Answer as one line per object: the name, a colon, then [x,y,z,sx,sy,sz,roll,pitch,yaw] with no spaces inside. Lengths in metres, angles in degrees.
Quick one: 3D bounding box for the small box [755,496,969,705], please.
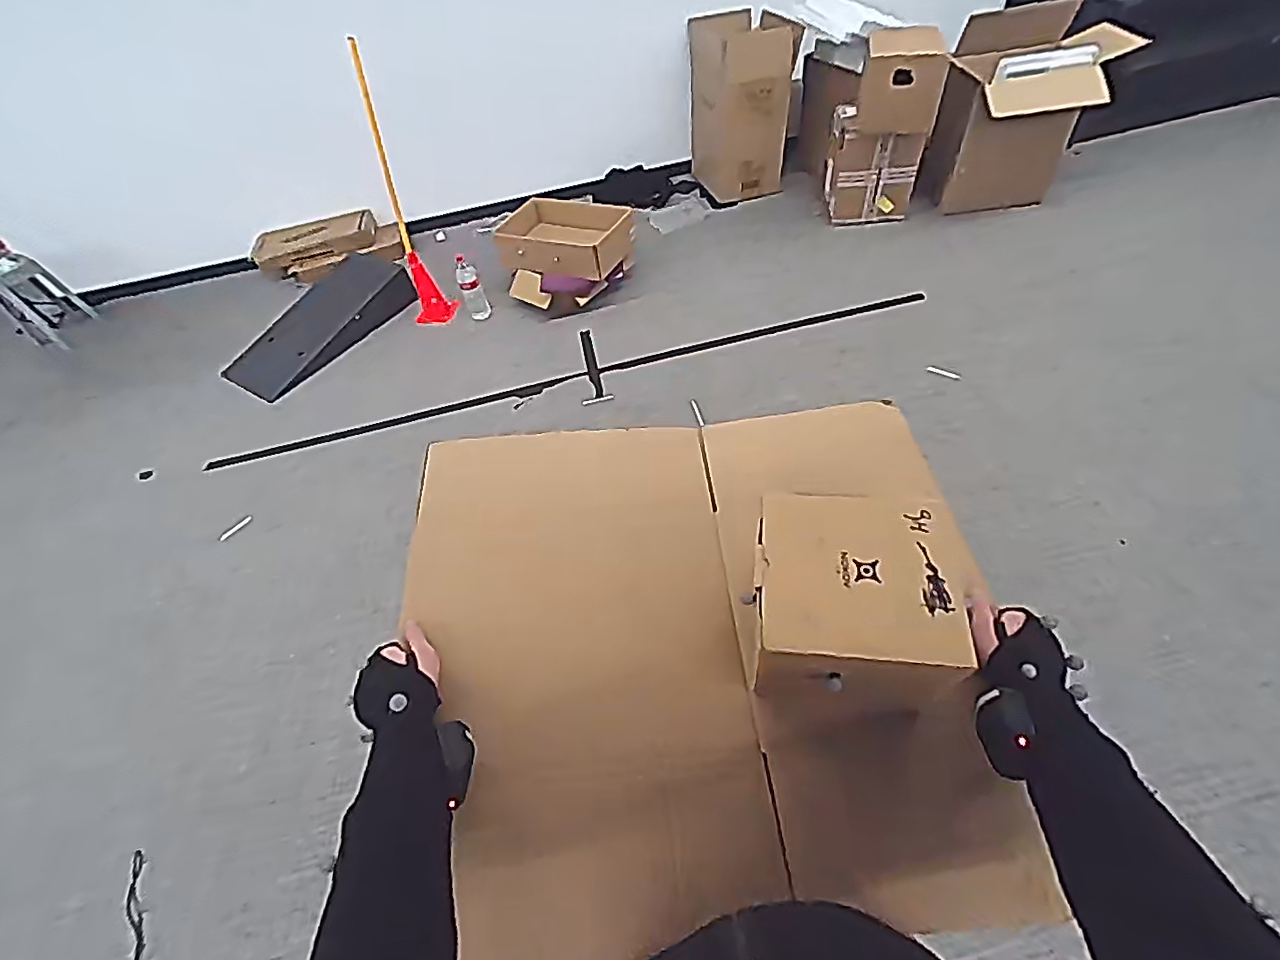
small box: [0.214,0.131,0.573,0.179,0.176,0.168,1,57,12]
